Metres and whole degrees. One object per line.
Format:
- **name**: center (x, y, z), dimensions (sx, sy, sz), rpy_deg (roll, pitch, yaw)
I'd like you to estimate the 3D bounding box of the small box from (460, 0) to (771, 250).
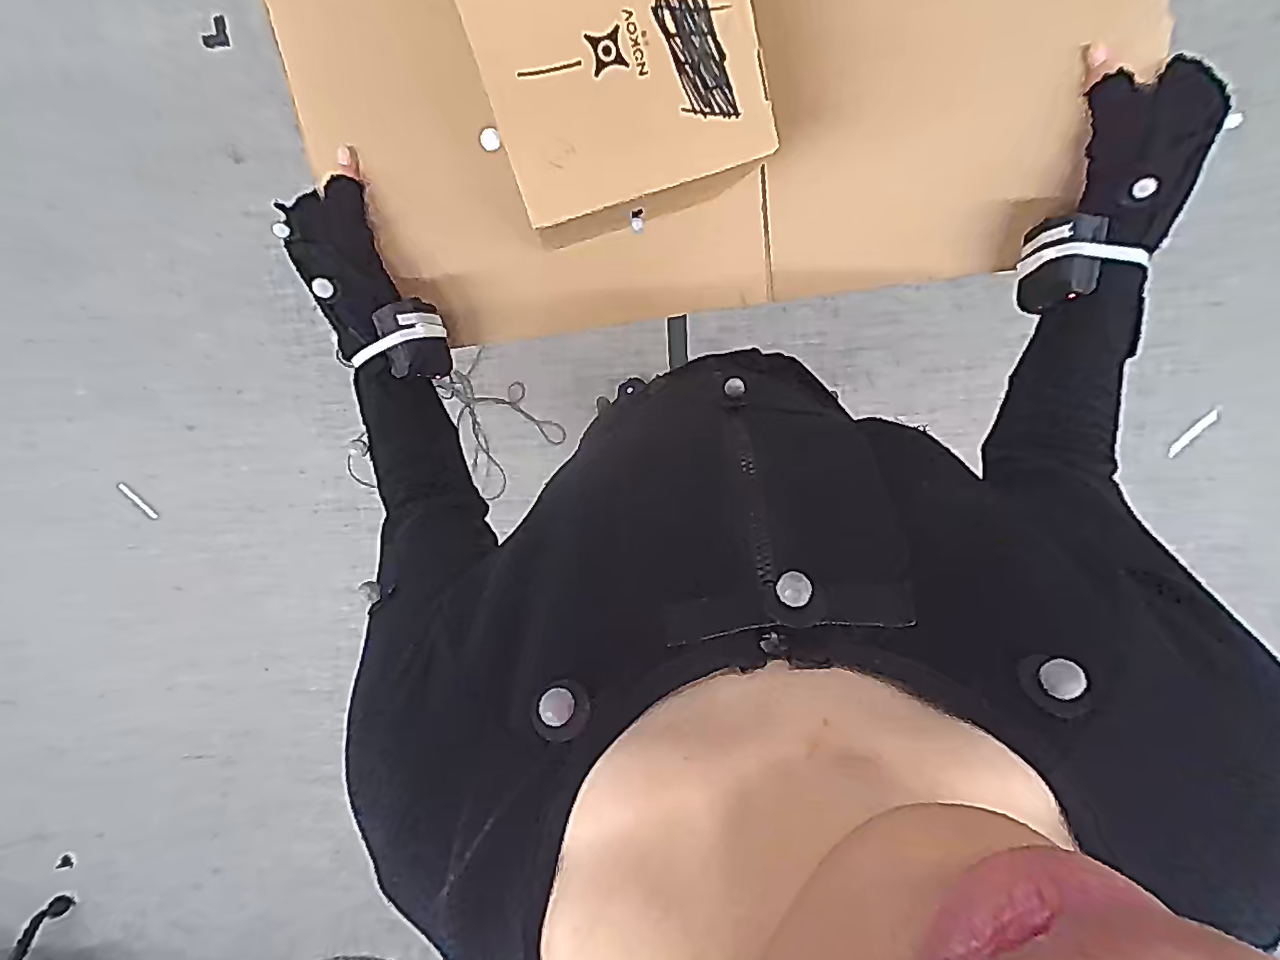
- **small box**: center (-0.023, -0.293, 0.422), dimensions (0.179, 0.176, 0.168), rpy_deg (-18, 109, -1)
